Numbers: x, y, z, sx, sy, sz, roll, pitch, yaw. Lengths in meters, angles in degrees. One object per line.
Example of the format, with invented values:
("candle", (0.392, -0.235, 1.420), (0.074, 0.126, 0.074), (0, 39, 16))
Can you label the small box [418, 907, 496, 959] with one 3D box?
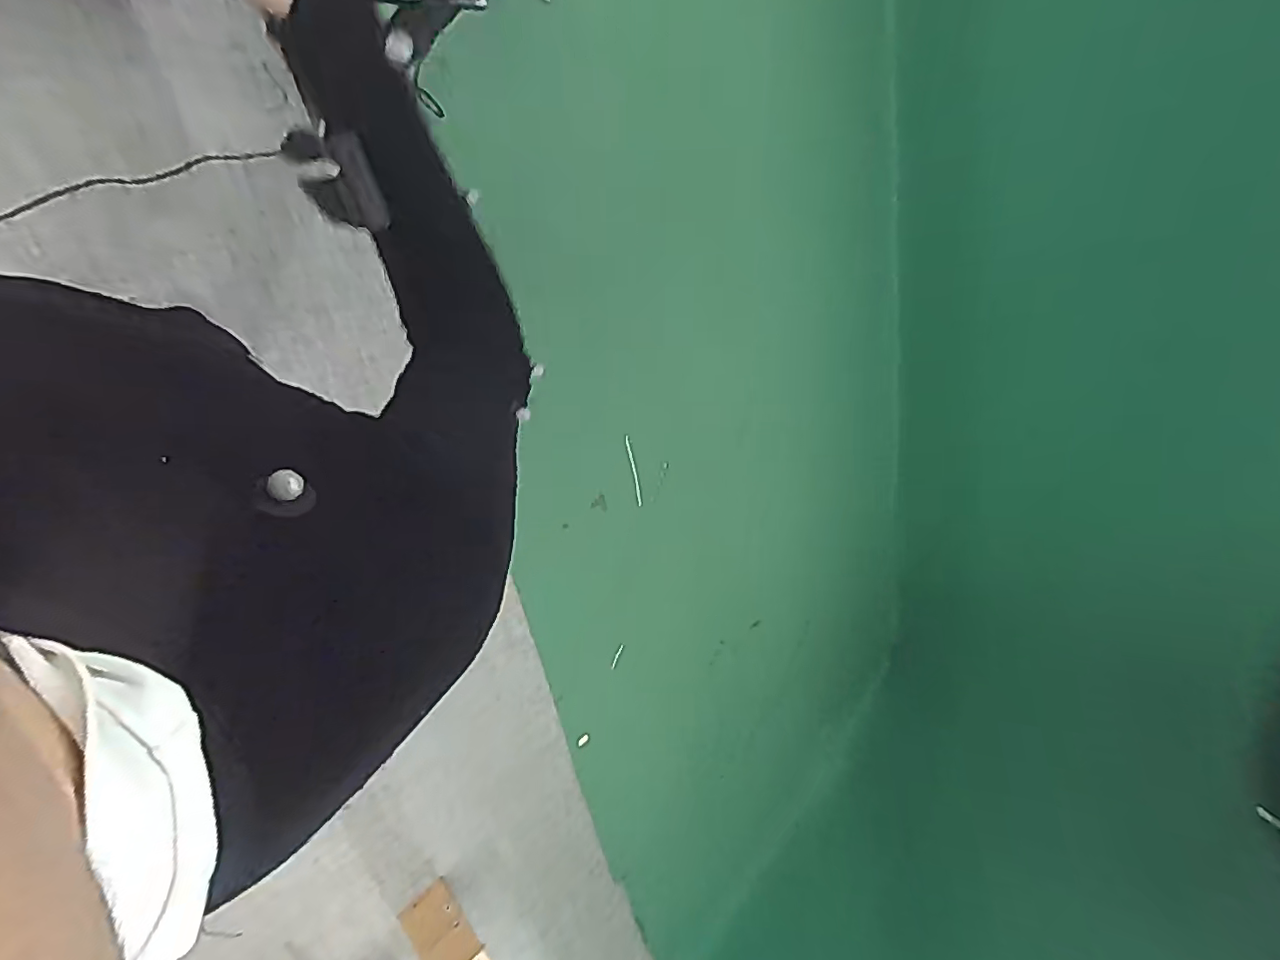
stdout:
("small box", (-0.599, 1.562, 1.775), (0.168, 0.176, 0.179), (-31, 121, -33))
